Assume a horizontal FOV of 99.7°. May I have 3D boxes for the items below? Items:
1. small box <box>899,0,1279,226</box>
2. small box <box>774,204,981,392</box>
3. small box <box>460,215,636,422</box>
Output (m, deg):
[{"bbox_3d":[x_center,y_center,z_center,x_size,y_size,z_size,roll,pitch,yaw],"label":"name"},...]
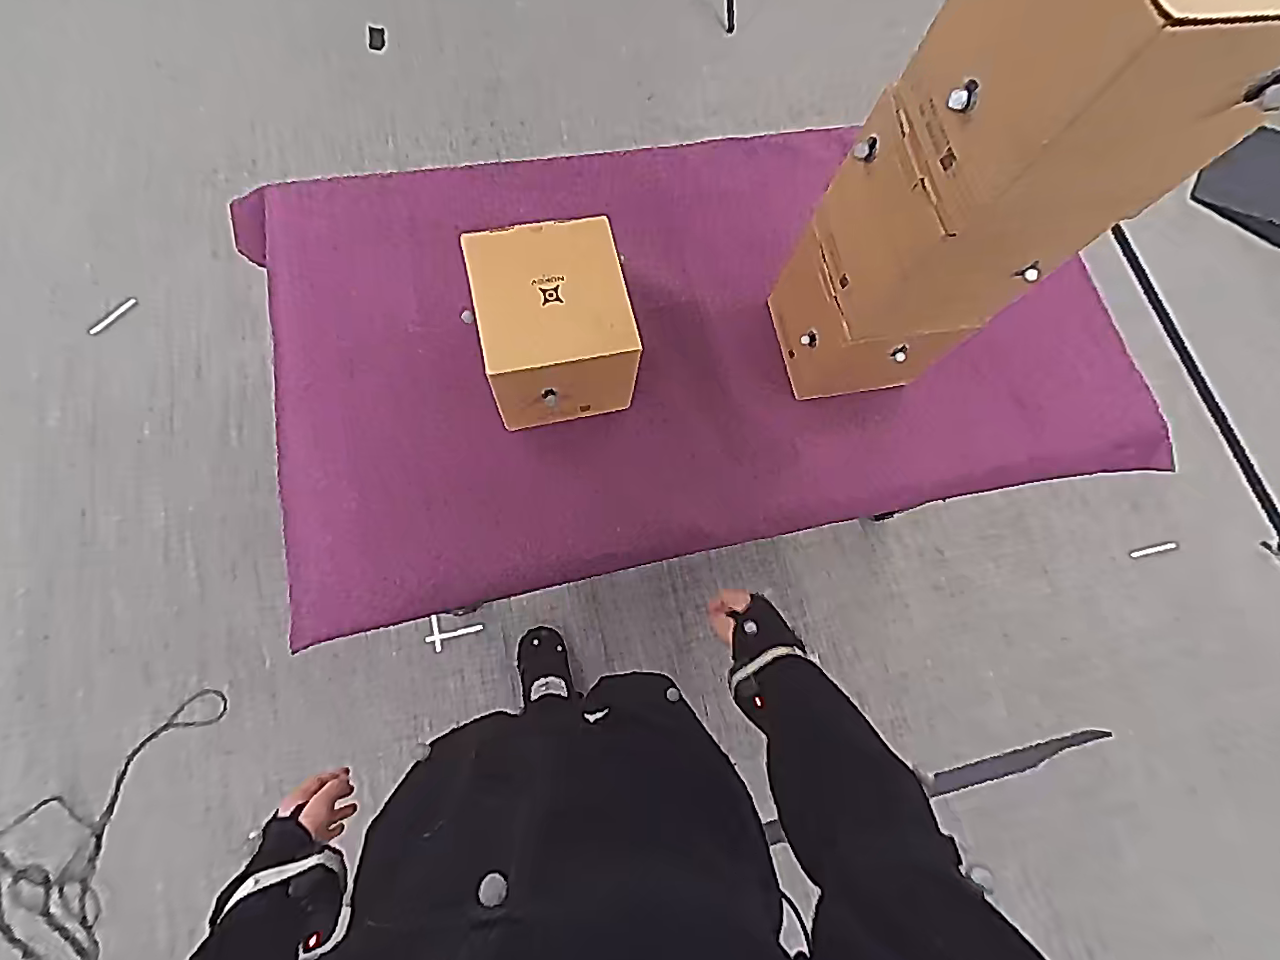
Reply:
[{"bbox_3d":[0.333,-0.317,0.398,0.179,0.176,0.168,-10,75,-8],"label":"small box"},{"bbox_3d":[0.291,-0.229,0.713,0.179,0.176,0.168,-10,76,-9],"label":"small box"},{"bbox_3d":[-0.106,-0.183,0.660,0.168,0.176,0.179,-13,75,-9],"label":"small box"}]
